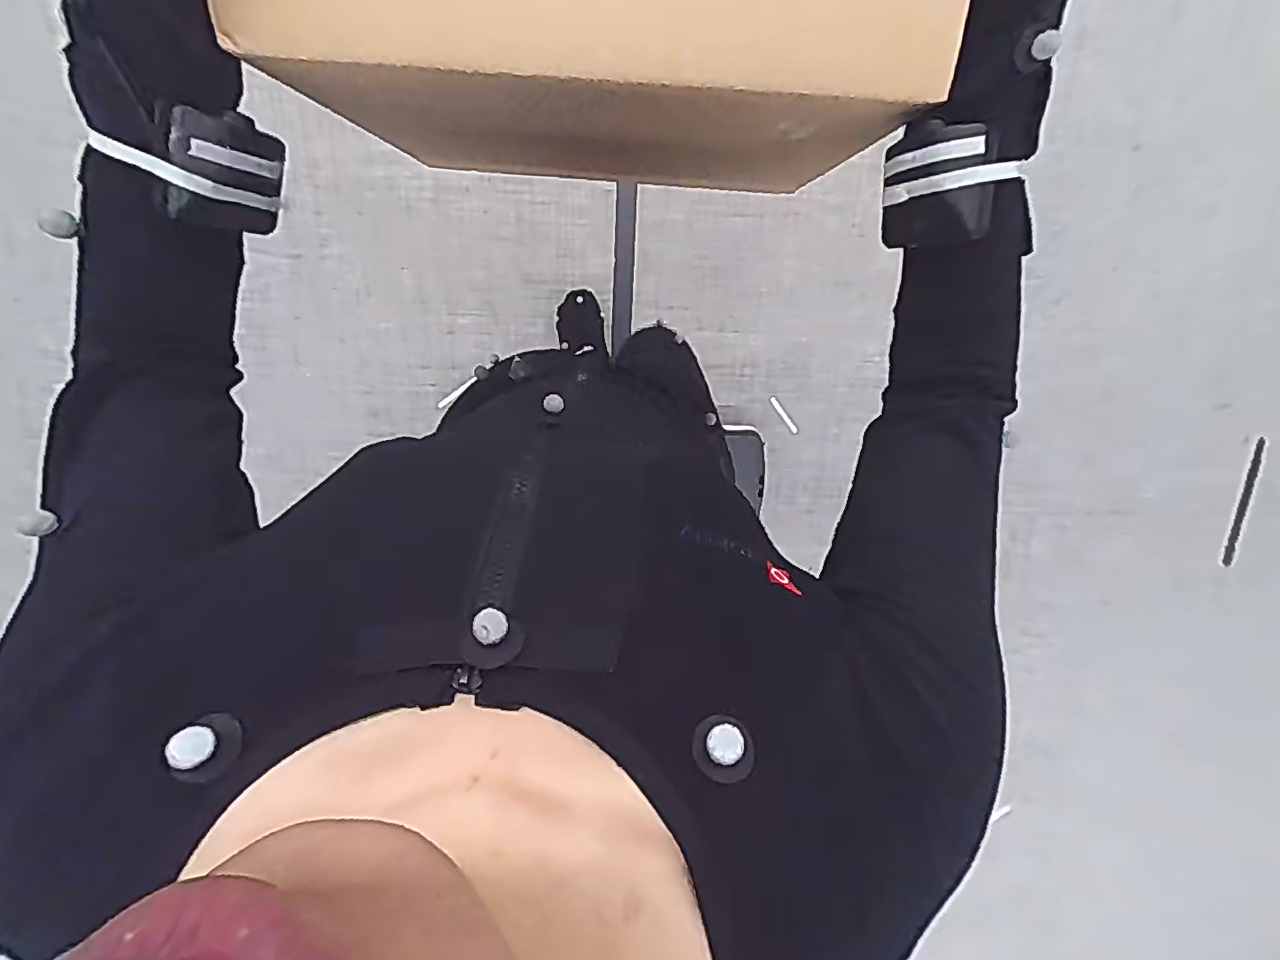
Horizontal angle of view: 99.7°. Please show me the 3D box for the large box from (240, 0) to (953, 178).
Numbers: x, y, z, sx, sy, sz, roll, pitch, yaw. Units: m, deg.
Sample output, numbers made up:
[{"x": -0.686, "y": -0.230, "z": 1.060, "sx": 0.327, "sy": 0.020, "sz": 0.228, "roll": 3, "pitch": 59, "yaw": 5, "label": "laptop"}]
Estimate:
[{"x": -0.021, "y": -0.433, "z": 0.401, "sx": 0.408, "sy": 0.320, "sz": 0.320, "roll": 3, "pitch": 110, "yaw": -2, "label": "large box"}]
